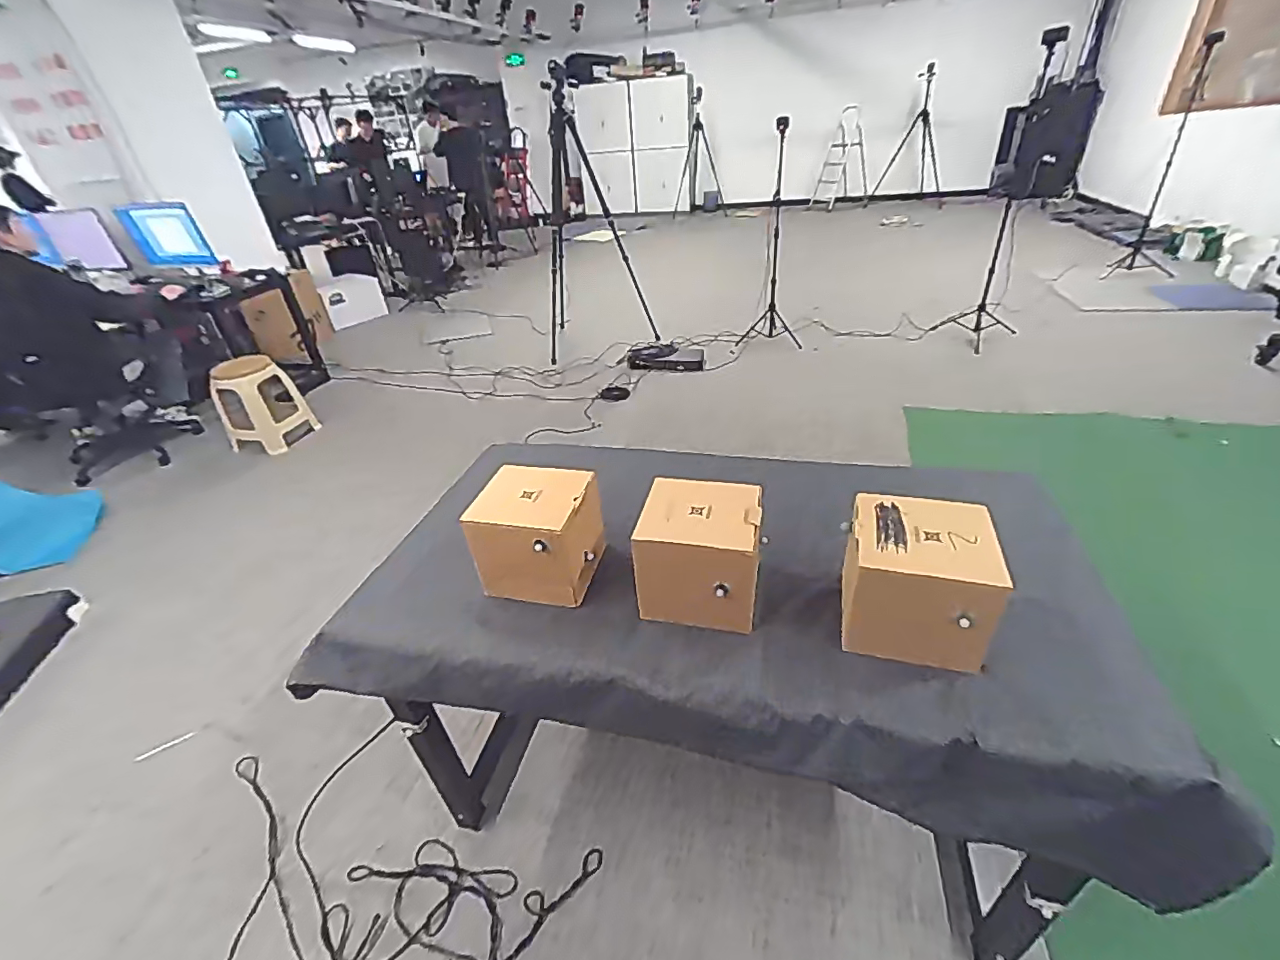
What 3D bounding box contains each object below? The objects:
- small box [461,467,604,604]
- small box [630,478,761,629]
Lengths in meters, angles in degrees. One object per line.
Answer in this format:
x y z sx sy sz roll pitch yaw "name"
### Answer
-0.173 0.094 0.932 0.179 0.176 0.168 4 34 14 "small box"
0.097 0.115 0.857 0.179 0.176 0.168 3 33 15 "small box"
